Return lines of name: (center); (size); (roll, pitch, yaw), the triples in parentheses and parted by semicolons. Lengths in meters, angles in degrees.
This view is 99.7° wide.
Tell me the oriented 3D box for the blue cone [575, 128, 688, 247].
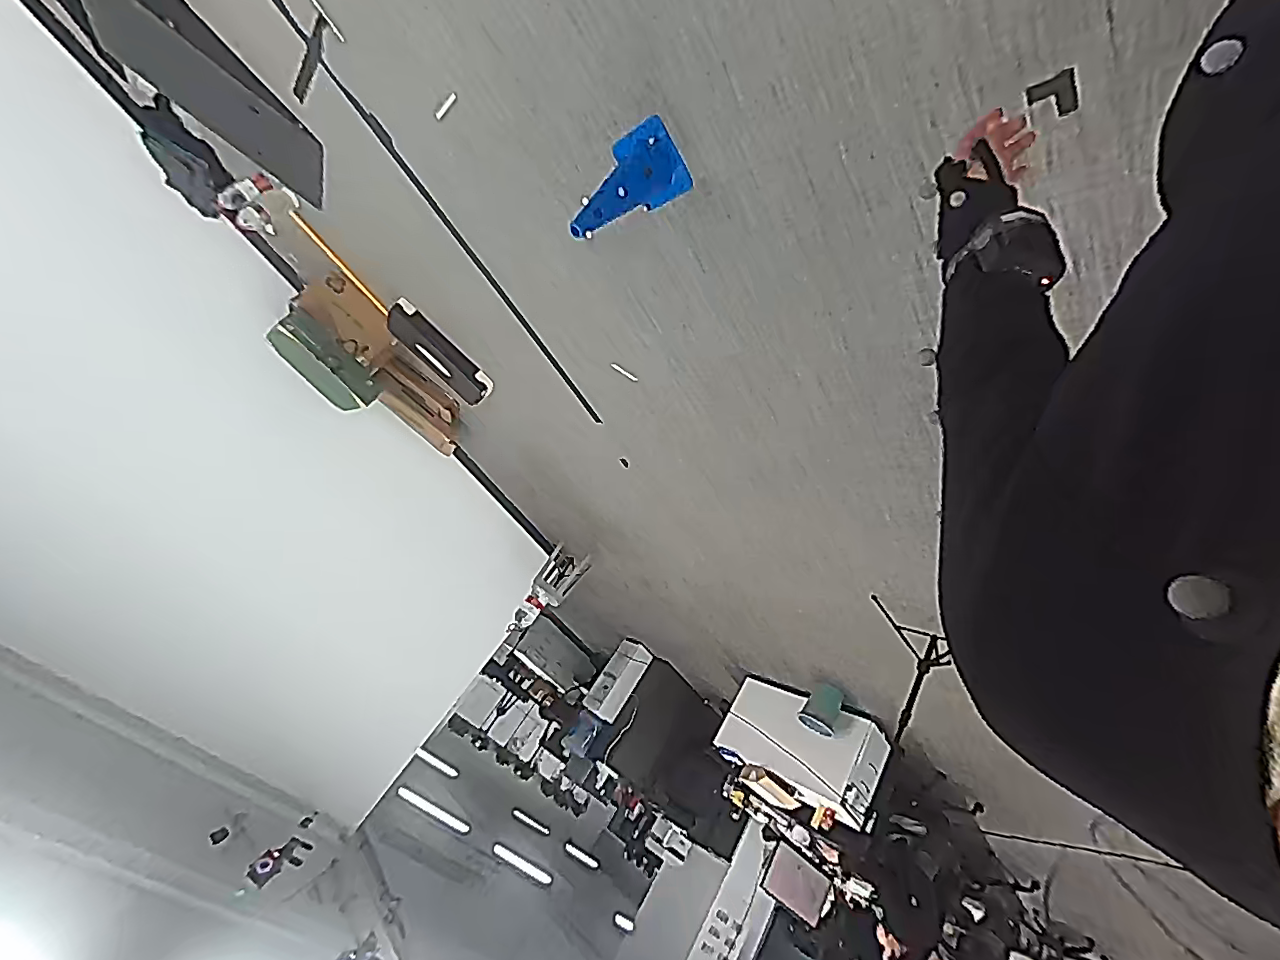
blue cone: (-0.056, -0.740, 1.429); (0.193, 0.380, 0.192); (3, 138, 49)
